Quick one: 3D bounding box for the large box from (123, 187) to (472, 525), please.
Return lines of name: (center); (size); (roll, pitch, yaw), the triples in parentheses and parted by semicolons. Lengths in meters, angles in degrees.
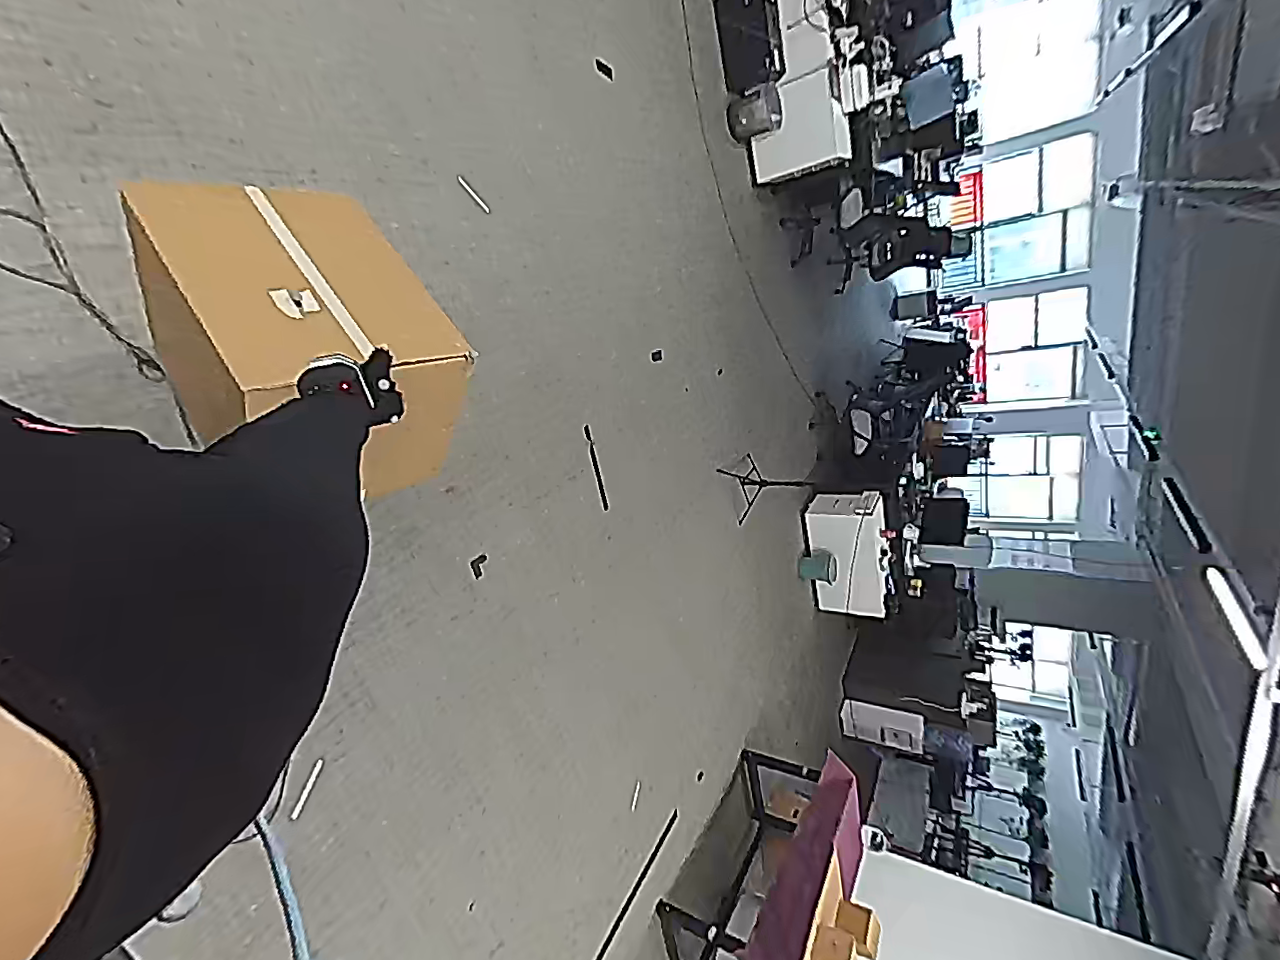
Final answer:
large box: (-0.552, -0.205, 0.890); (0.320, 0.320, 0.408); (-25, 71, -44)
